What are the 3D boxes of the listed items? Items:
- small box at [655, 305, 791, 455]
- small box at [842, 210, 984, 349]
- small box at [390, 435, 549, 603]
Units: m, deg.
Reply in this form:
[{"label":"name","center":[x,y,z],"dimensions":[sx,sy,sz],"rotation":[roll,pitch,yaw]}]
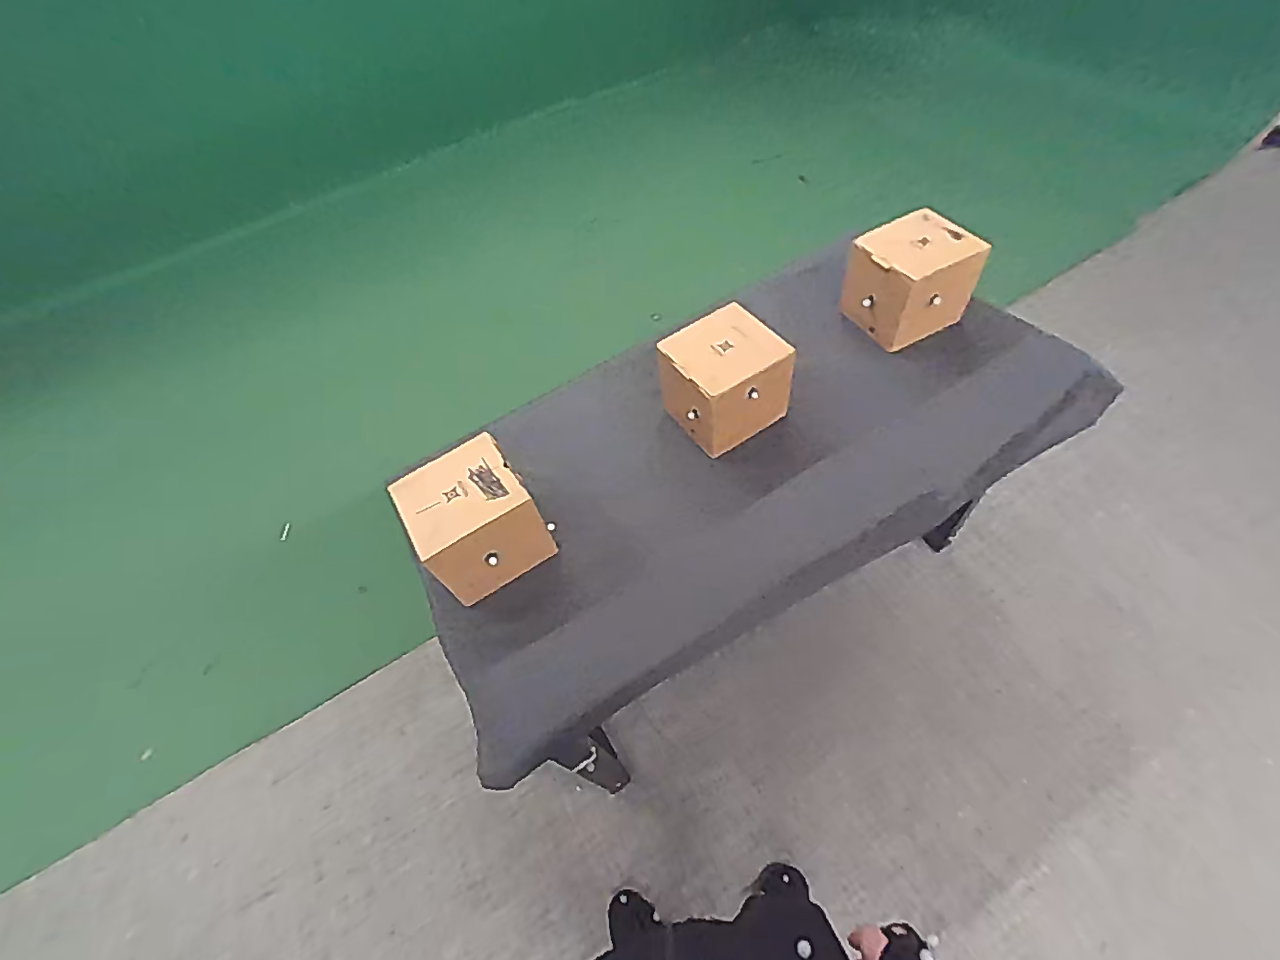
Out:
[{"label":"small box","center":[0.148,-0.177,0.983],"dimensions":[0.179,0.176,0.168],"rotation":[-30,58,-14]},{"label":"small box","center":[0.521,-0.389,1.066],"dimensions":[0.179,0.176,0.168],"rotation":[-26,56,-8]},{"label":"small box","center":[-0.263,0.066,0.876],"dimensions":[0.179,0.176,0.168],"rotation":[-32,57,-12]}]
